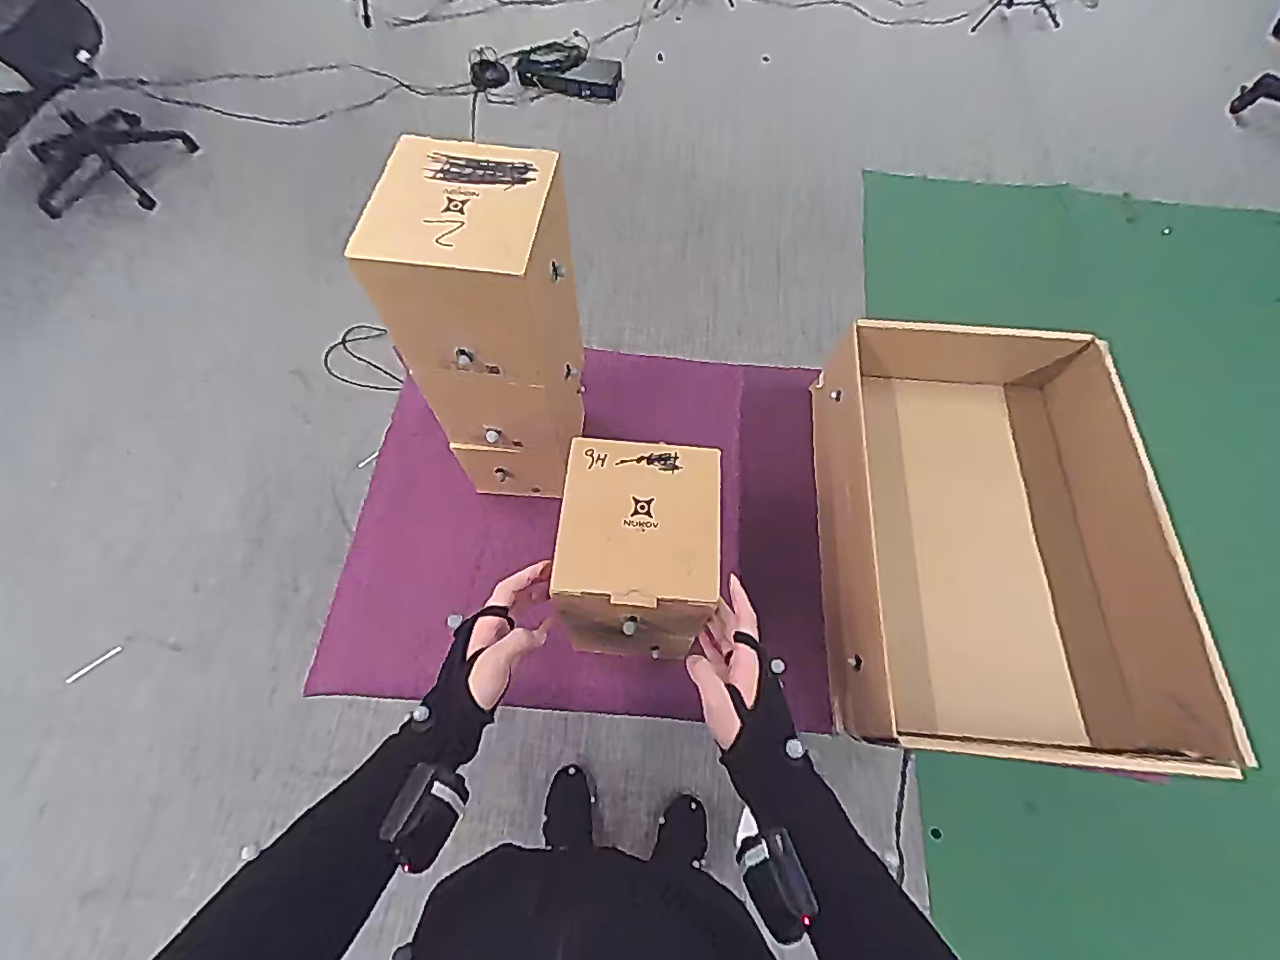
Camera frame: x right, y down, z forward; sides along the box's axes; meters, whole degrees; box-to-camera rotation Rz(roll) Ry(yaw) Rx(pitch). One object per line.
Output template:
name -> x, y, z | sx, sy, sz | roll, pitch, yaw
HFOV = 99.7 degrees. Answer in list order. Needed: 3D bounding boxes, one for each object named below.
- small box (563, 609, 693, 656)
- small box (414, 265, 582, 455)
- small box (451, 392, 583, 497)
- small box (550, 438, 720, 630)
small box -> -0.008, 0.146, 0.772 | 0.168, 0.176, 0.179 | 6, 62, 1
small box -> -0.176, -0.158, 0.735 | 0.168, 0.176, 0.179 | 7, 64, 3
small box -> -0.187, -0.083, 0.882 | 0.168, 0.176, 0.179 | 4, 63, 1
small box -> -0.002, 0.071, 0.628 | 0.168, 0.176, 0.179 | 5, 64, 0
